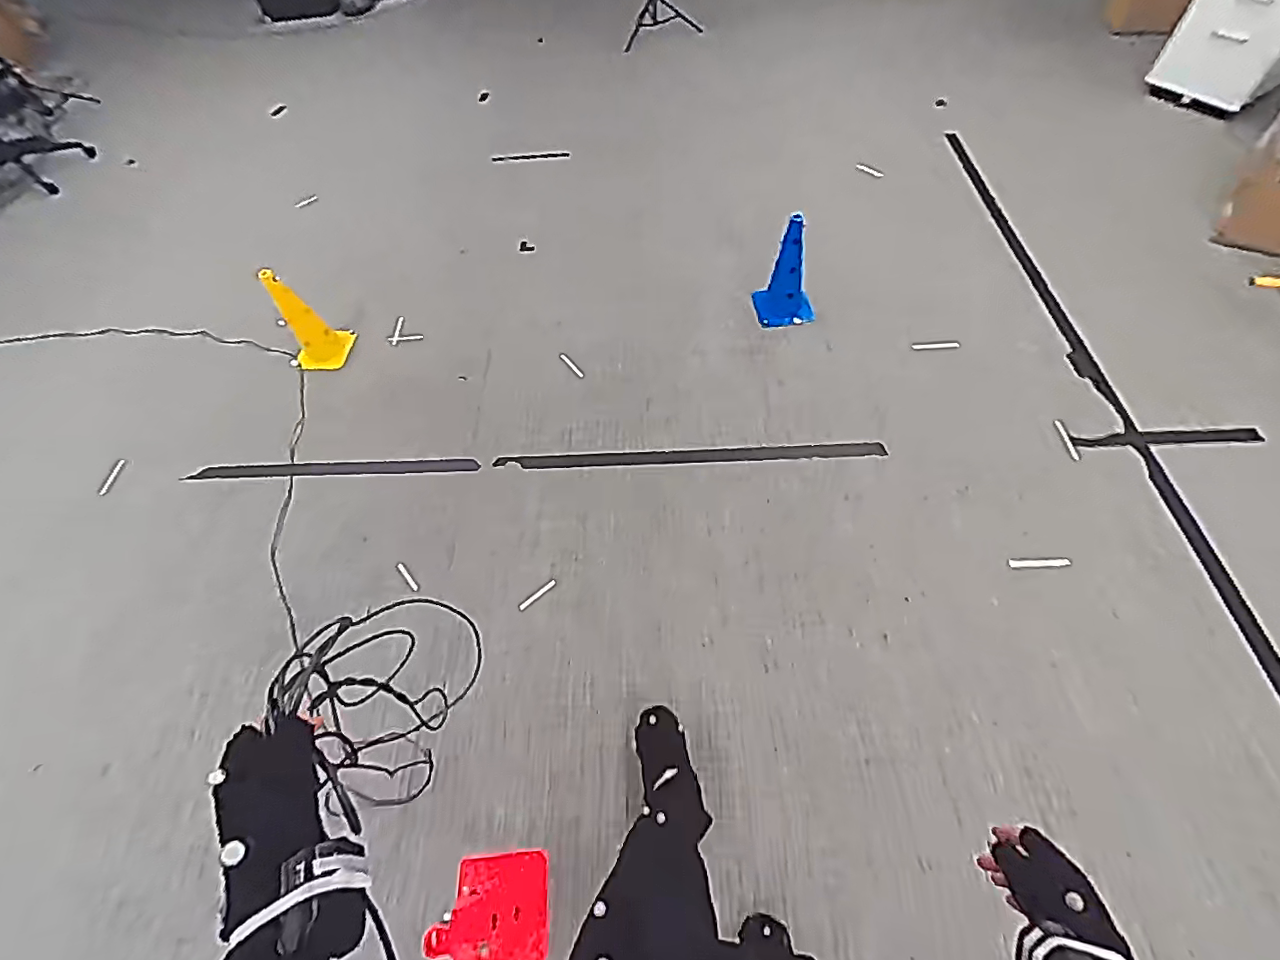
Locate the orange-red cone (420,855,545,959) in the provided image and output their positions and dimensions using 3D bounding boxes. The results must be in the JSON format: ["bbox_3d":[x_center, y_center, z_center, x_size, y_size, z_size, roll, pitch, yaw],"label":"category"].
[{"bbox_3d":[-0.310,0.825,0.991,0.199,0.360,0.198,-6,59,1],"label":"orange-red cone"}]

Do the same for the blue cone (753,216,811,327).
[{"bbox_3d":[0.507,-0.728,1.859,0.193,0.380,0.192,-7,58,2],"label":"blue cone"}]
